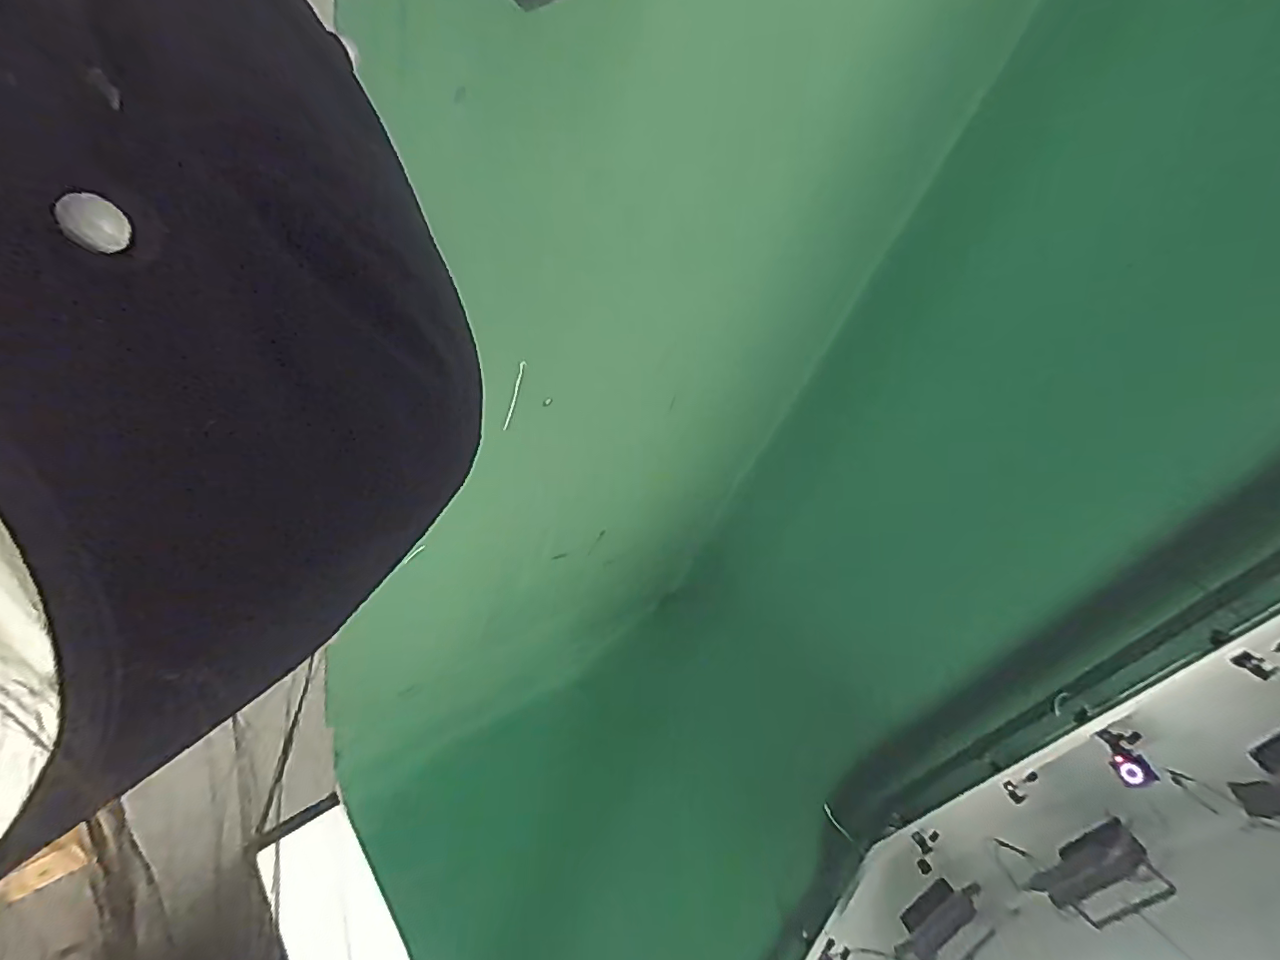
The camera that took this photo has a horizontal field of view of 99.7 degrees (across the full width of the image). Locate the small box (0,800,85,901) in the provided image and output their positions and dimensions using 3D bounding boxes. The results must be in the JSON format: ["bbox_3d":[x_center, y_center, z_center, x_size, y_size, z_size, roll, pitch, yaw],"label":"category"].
[{"bbox_3d":[-1.844,1.122,1.651,0.168,0.176,0.179,-19,143,-44],"label":"small box"}]

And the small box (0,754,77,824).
[{"bbox_3d":[-1.943,1.012,1.717,0.179,0.176,0.168,-15,141,-44],"label":"small box"}]
